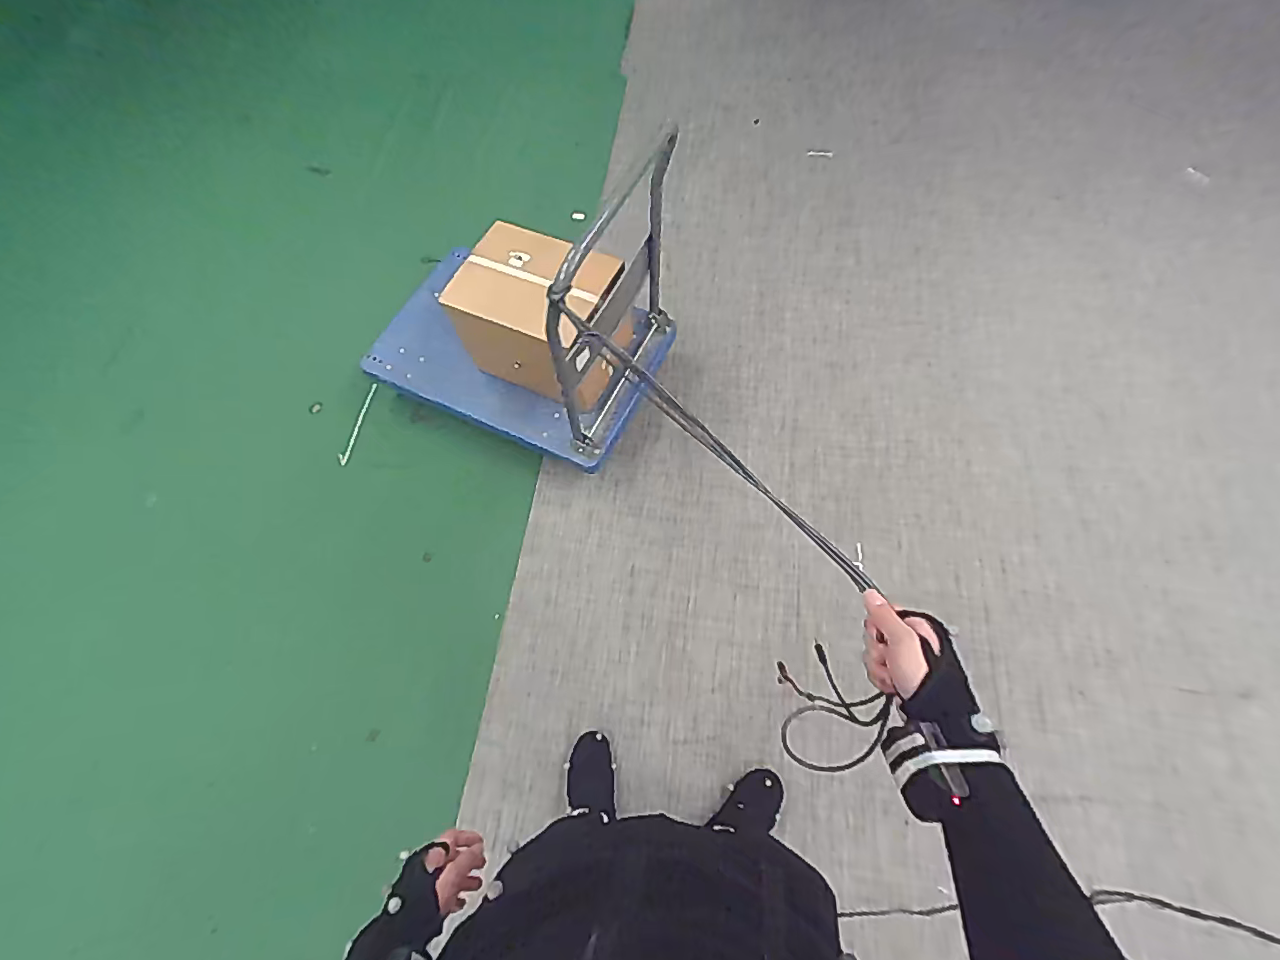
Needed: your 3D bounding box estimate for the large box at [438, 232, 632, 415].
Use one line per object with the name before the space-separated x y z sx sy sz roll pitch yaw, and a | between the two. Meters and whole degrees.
large box | -0.275 -0.442 1.556 0.408 0.320 0.320 23 69 15
